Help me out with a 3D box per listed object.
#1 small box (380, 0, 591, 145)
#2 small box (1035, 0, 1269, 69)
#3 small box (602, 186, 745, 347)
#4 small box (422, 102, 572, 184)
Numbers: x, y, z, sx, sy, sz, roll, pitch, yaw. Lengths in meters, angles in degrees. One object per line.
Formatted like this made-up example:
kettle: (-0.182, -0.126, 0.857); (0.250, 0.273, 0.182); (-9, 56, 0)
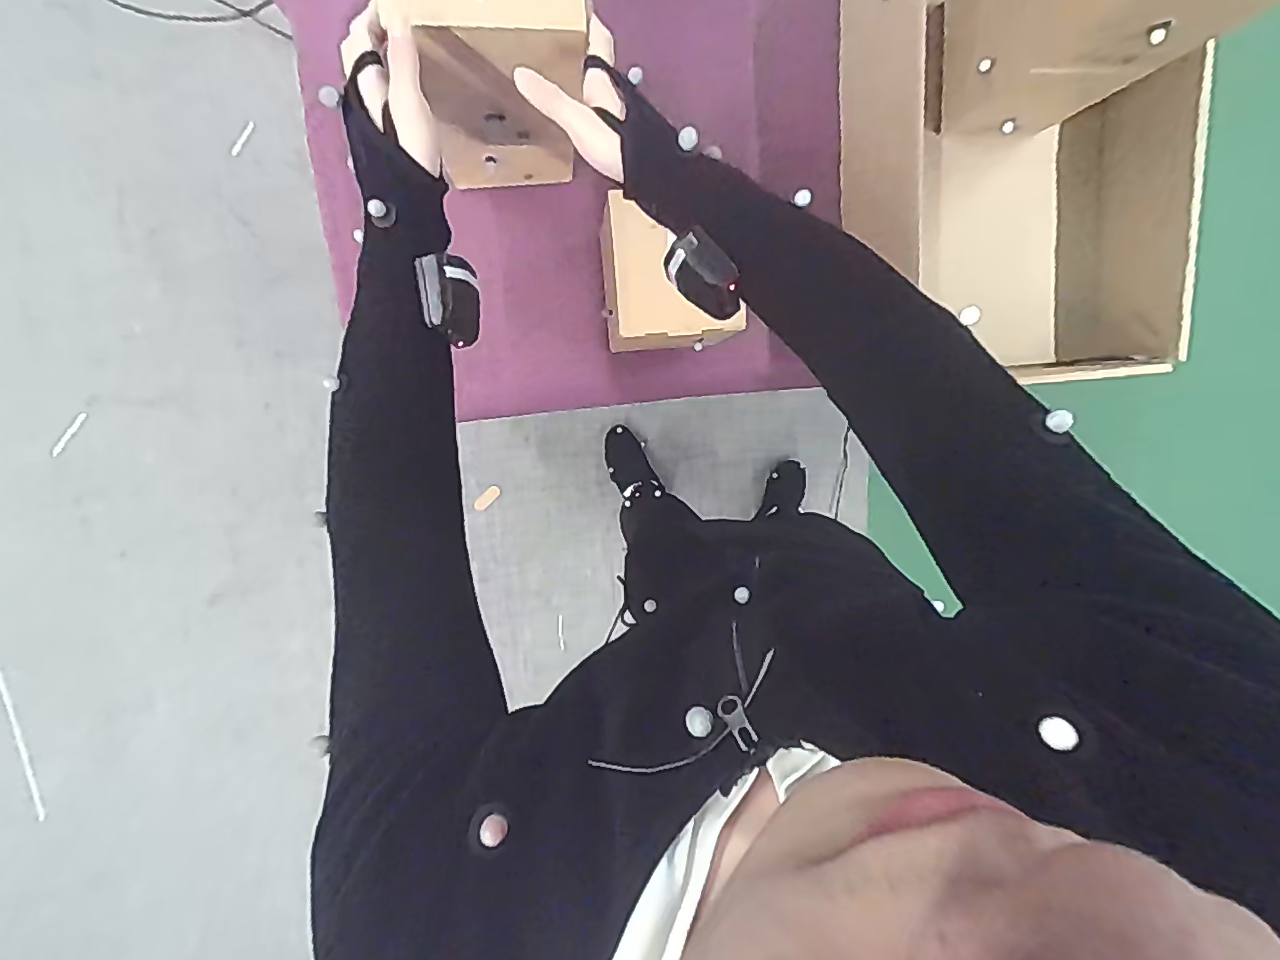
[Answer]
small box: (-0.137, -0.450, 0.504); (0.168, 0.176, 0.179); (-5, 93, -7)
small box: (0.541, -0.553, 0.544); (0.168, 0.176, 0.179); (-3, 100, -6)
small box: (0.038, -0.279, 0.743); (0.168, 0.176, 0.179); (-5, 97, -7)
small box: (-0.178, -0.496, 0.685); (0.168, 0.176, 0.179); (-7, 98, -6)
